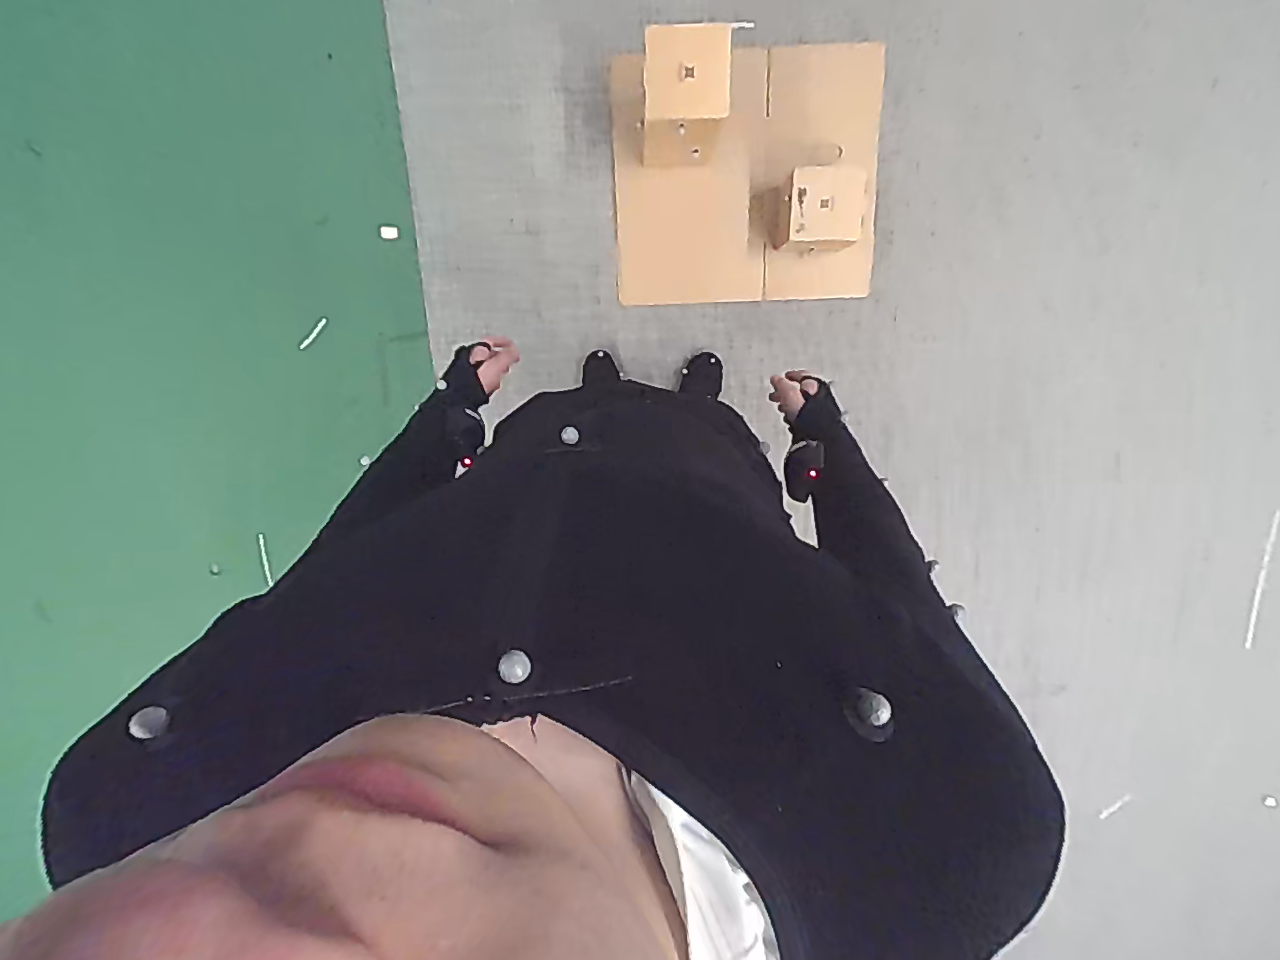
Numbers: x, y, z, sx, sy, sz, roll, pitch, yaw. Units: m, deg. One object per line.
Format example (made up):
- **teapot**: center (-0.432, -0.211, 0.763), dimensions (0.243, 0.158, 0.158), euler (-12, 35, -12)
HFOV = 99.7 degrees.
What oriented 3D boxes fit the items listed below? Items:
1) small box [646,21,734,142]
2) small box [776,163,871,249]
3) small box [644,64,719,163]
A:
- **small box**: center (0.101, -0.846, 1.161), dimensions (0.179, 0.176, 0.168), euler (0, 106, 2)
- **small box**: center (0.456, -0.685, 1.366), dimensions (0.179, 0.176, 0.168), euler (1, 105, 1)
- **small box**: center (0.099, -0.888, 1.317), dimensions (0.179, 0.176, 0.168), euler (0, 105, 2)
